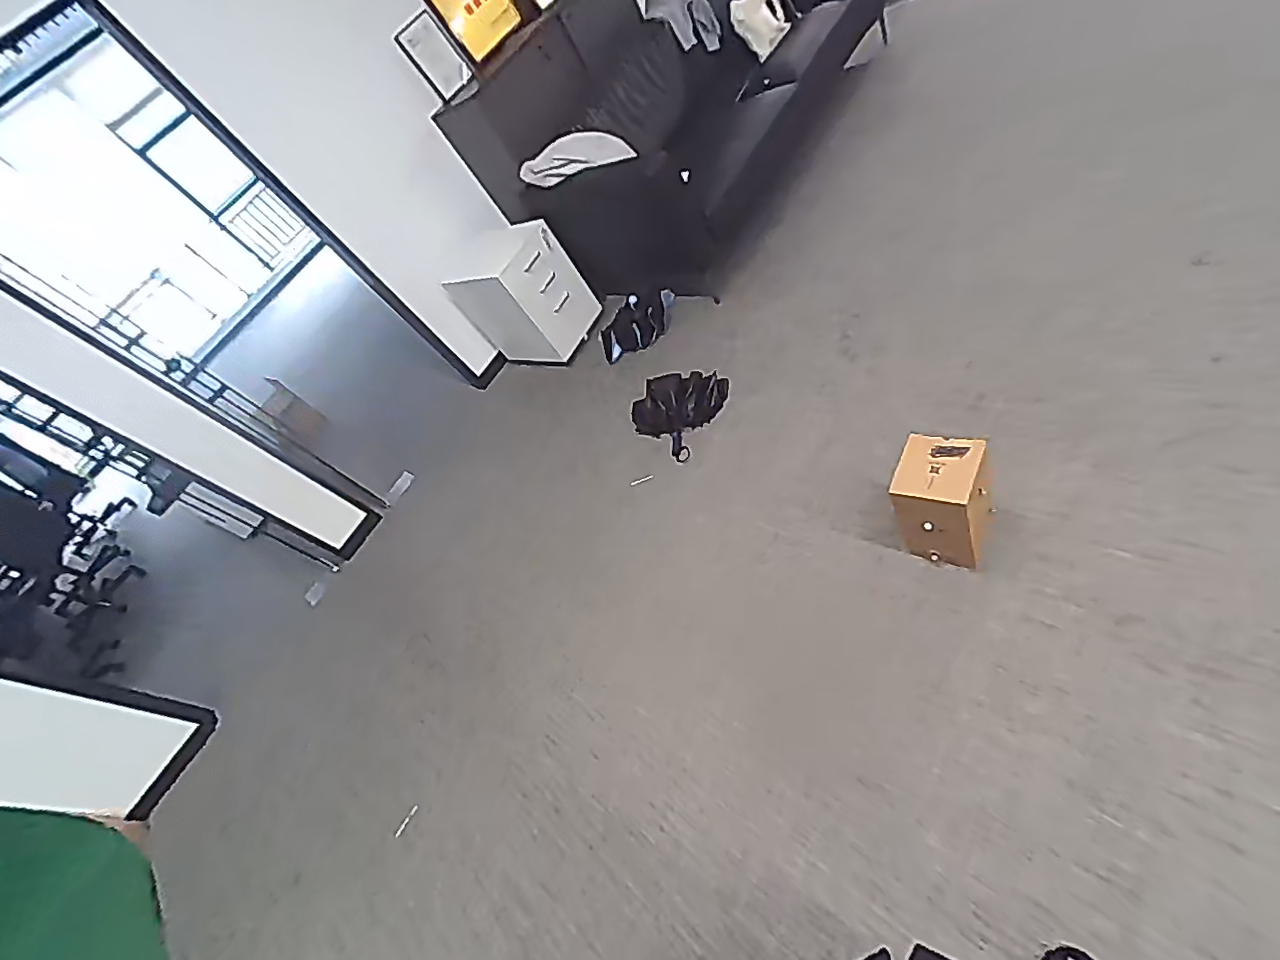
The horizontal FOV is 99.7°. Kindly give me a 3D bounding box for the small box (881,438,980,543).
[{"bbox_3d":[0.702,0.024,1.301,0.168,0.176,0.179,13,65,41],"label":"small box"}]

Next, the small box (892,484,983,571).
[{"bbox_3d":[0.783,0.110,1.416,0.168,0.176,0.179,13,66,41],"label":"small box"}]
